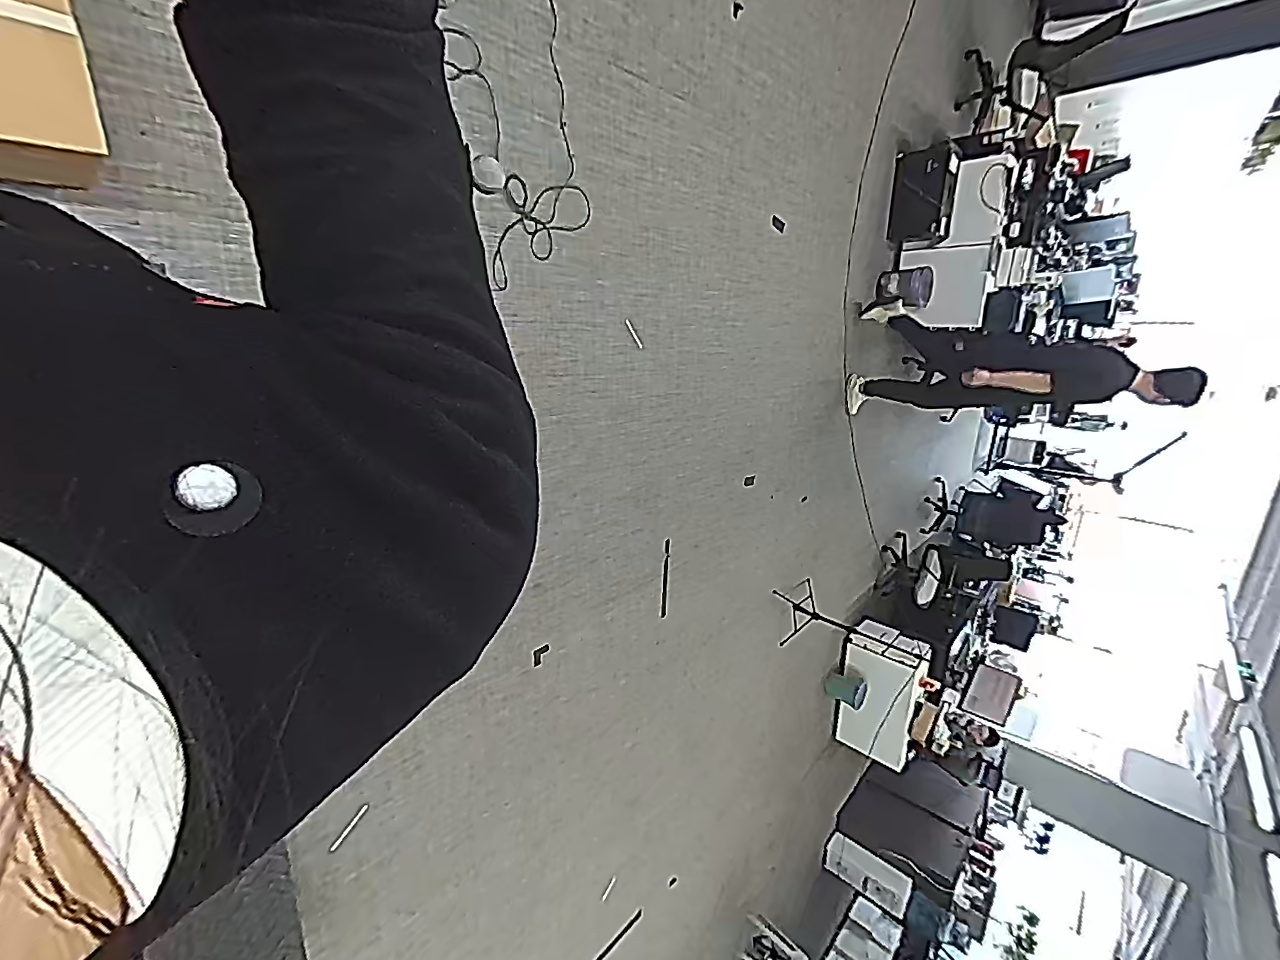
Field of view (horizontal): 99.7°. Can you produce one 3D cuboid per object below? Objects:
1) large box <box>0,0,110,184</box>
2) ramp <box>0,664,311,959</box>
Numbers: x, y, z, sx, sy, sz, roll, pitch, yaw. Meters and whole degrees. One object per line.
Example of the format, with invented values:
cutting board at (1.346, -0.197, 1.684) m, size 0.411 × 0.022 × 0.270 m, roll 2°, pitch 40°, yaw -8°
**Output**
large box at (-1.027, -0.611, 0.710) m, size 0.408 × 0.320 × 0.320 m, roll -18°, pitch 115°, yaw -45°
ramp at (-1.072, 0.974, 1.218) m, size 0.509 × 0.206 × 0.991 m, roll -14°, pitch 111°, yaw -44°
